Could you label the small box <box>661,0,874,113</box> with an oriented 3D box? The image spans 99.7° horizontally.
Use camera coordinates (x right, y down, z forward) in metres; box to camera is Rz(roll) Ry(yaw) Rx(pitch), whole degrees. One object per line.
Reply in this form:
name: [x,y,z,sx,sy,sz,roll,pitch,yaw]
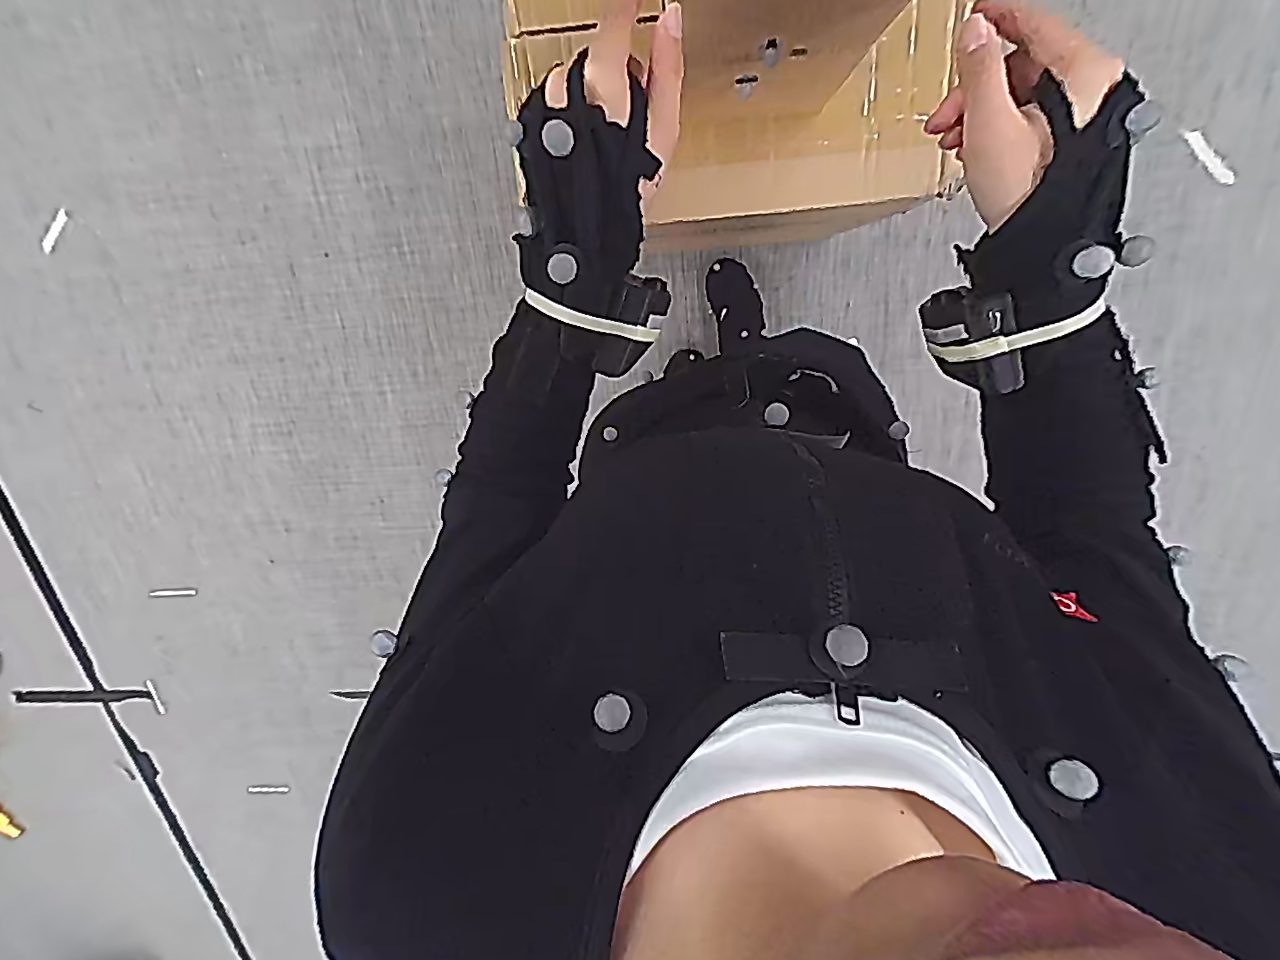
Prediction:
small box: [0.108,-0.467,0.508,0.179,0.176,0.168,-2,110,4]
